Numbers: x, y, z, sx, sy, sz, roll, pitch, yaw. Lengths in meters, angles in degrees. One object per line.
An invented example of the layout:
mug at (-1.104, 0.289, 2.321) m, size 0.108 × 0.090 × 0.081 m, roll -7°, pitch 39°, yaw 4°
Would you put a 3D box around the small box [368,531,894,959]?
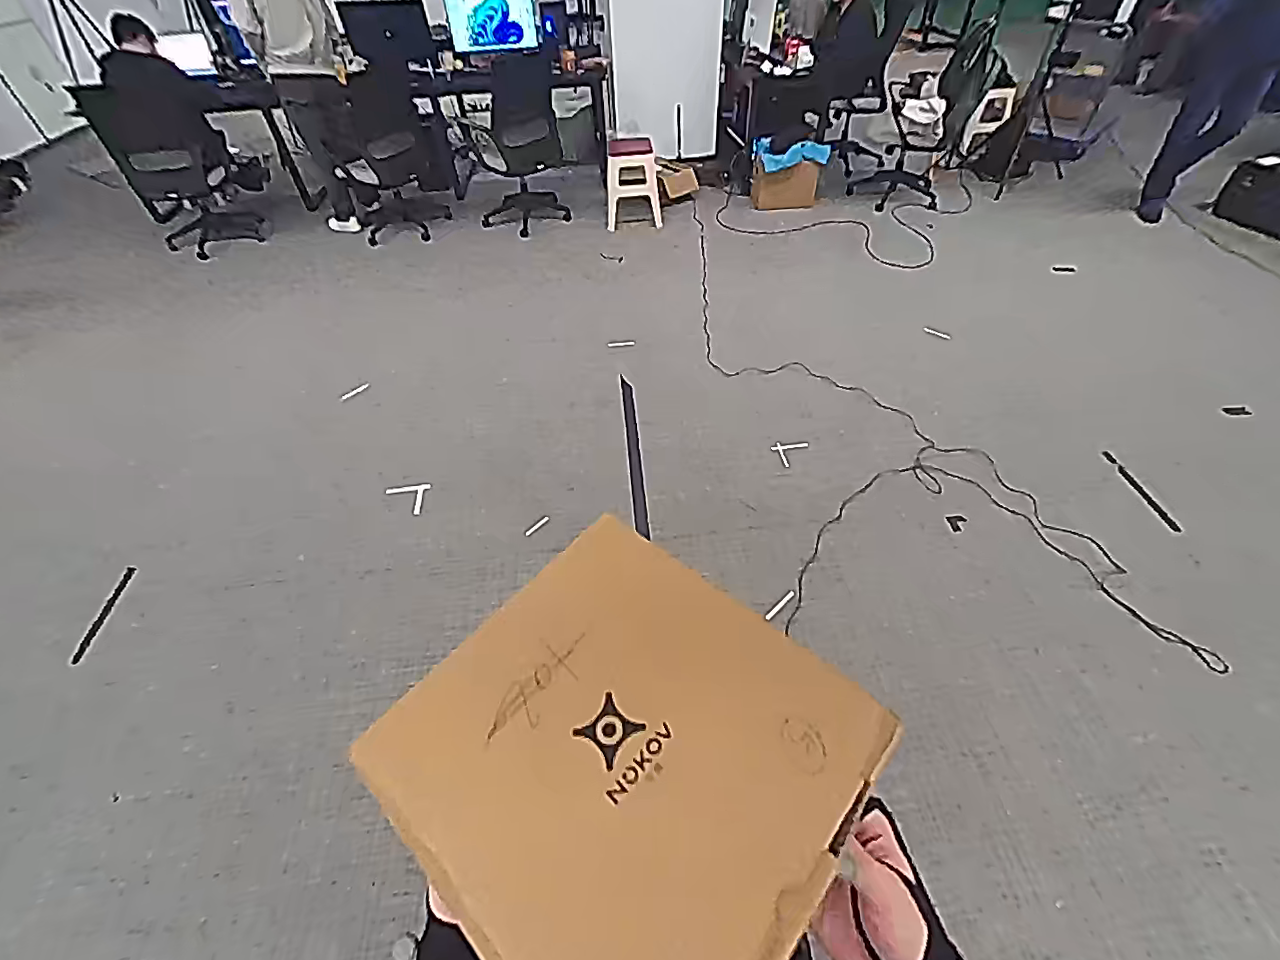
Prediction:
small box at (0.002, 0.167, 0.297) m, size 0.179 × 0.176 × 0.168 m, roll 30°, pitch 60°, yaw 30°
